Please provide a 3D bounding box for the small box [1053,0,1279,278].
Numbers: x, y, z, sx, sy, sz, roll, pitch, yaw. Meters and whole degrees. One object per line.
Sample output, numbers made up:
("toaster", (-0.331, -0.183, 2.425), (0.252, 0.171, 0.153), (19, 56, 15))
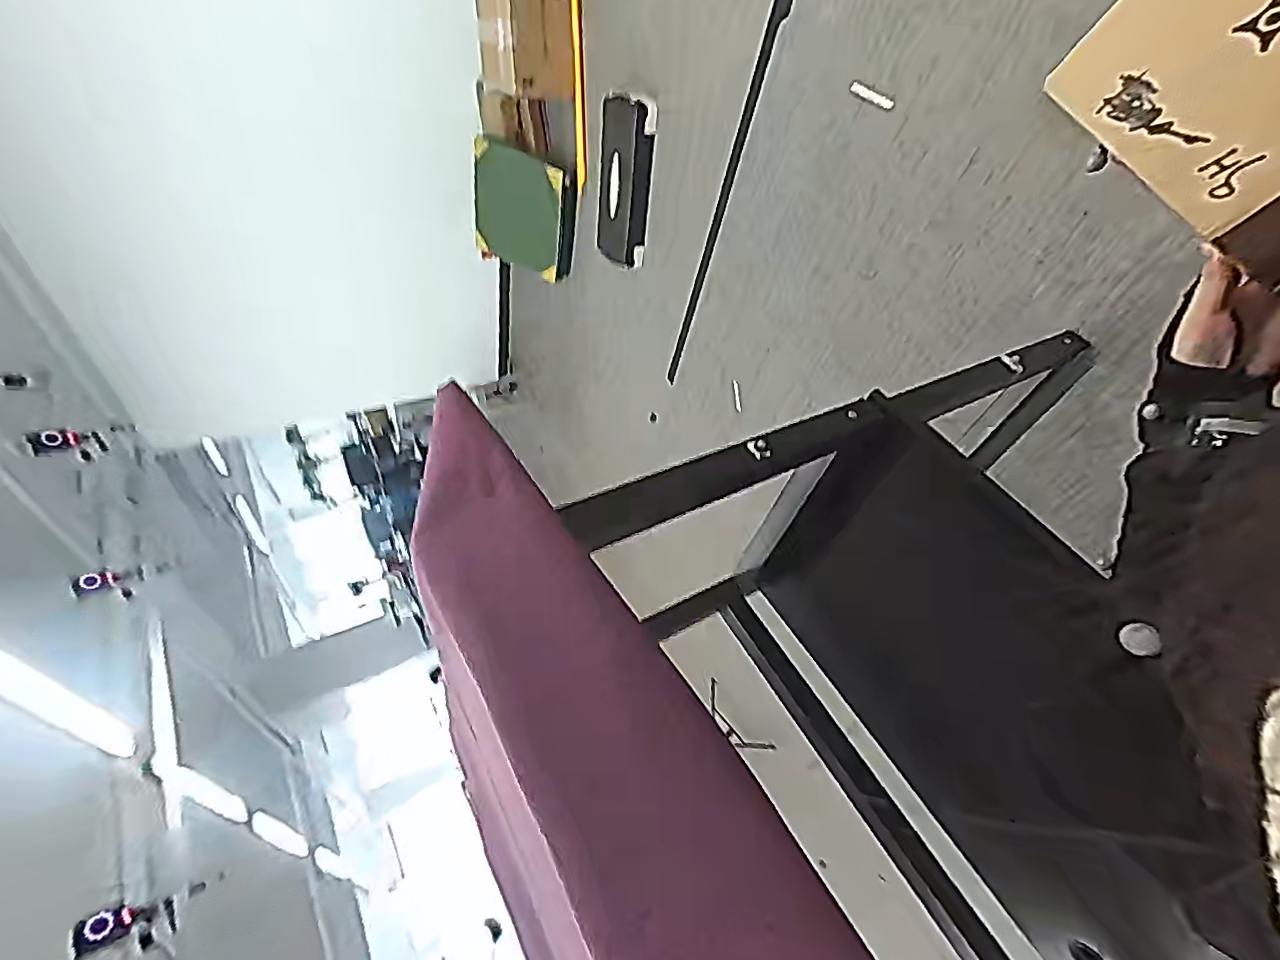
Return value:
("small box", (0.405, -0.250, 0.314), (0.179, 0.176, 0.168), (-46, 54, 47))
